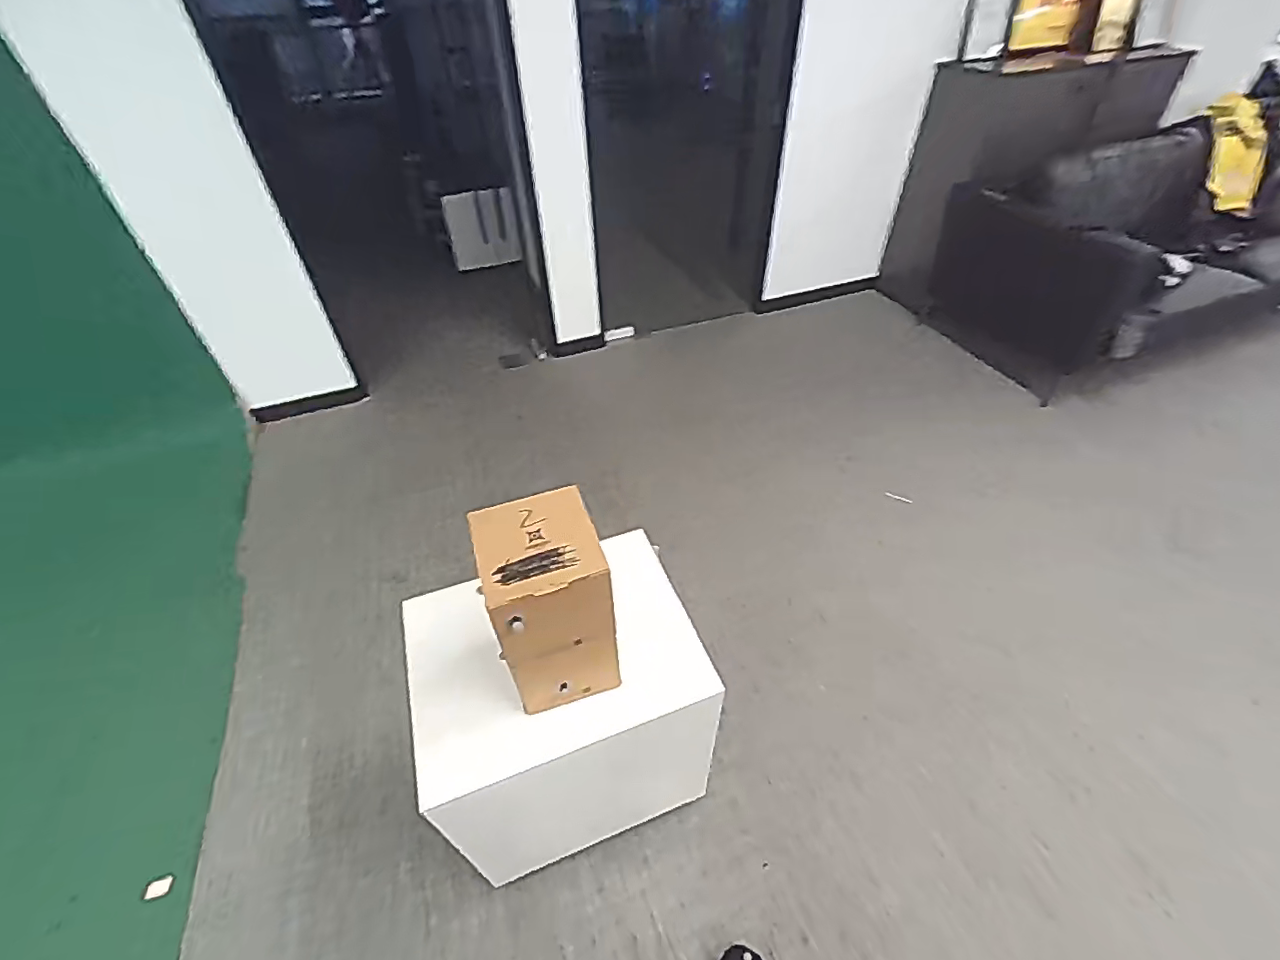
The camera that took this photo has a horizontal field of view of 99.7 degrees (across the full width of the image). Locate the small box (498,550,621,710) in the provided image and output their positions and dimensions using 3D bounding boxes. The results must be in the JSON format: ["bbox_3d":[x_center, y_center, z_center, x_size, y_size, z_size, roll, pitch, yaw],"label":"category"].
[{"bbox_3d":[-0.134,0.251,0.910,0.168,0.176,0.179,-13,44,-12],"label":"small box"}]
